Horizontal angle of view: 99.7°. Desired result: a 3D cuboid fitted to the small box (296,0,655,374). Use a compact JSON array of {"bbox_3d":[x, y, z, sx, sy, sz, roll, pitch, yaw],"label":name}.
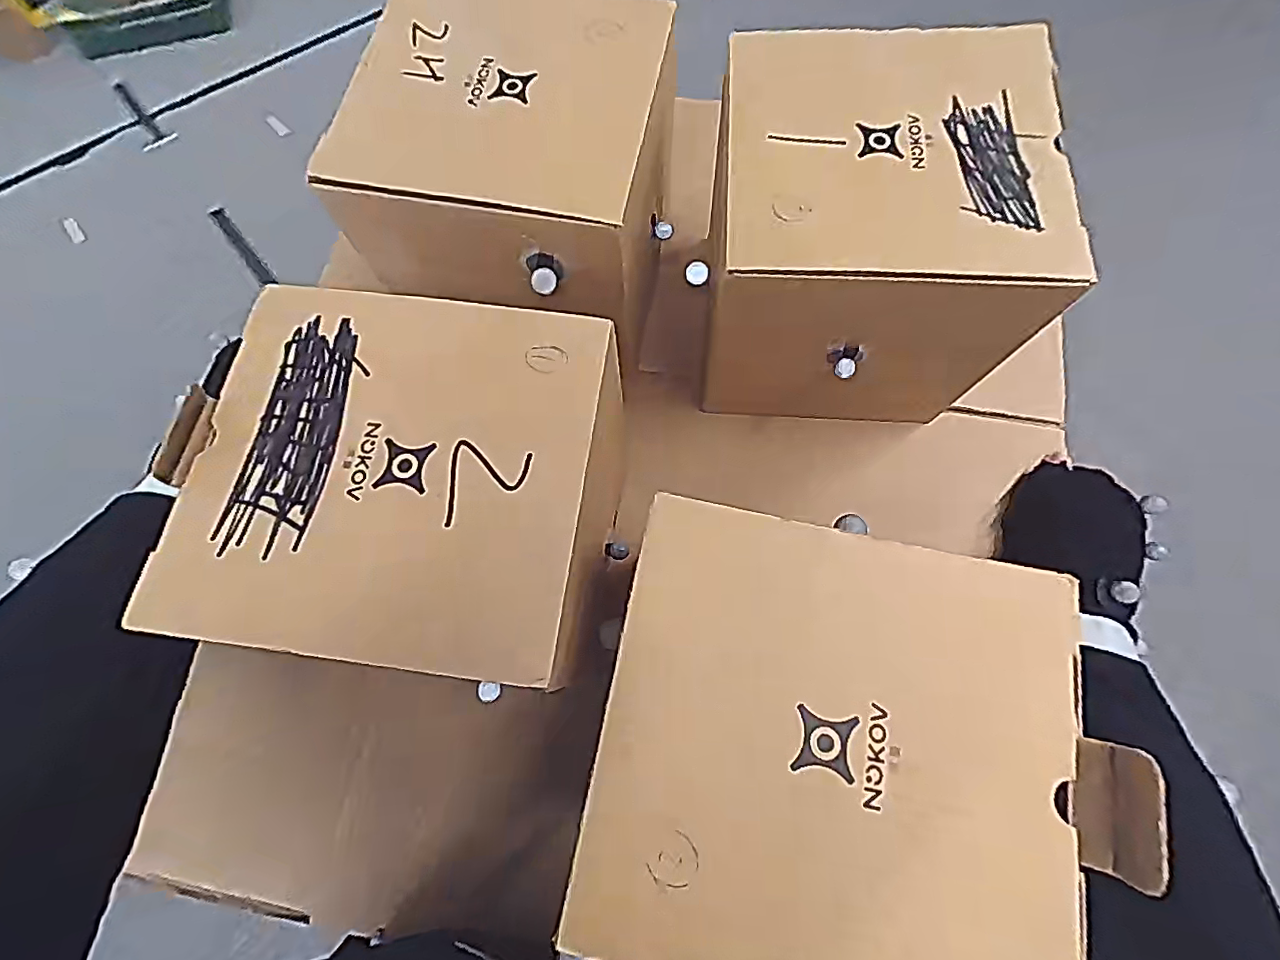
[{"bbox_3d":[-0.088,-0.193,0.389,0.179,0.176,0.168,10,73,5],"label":"small box"}]
